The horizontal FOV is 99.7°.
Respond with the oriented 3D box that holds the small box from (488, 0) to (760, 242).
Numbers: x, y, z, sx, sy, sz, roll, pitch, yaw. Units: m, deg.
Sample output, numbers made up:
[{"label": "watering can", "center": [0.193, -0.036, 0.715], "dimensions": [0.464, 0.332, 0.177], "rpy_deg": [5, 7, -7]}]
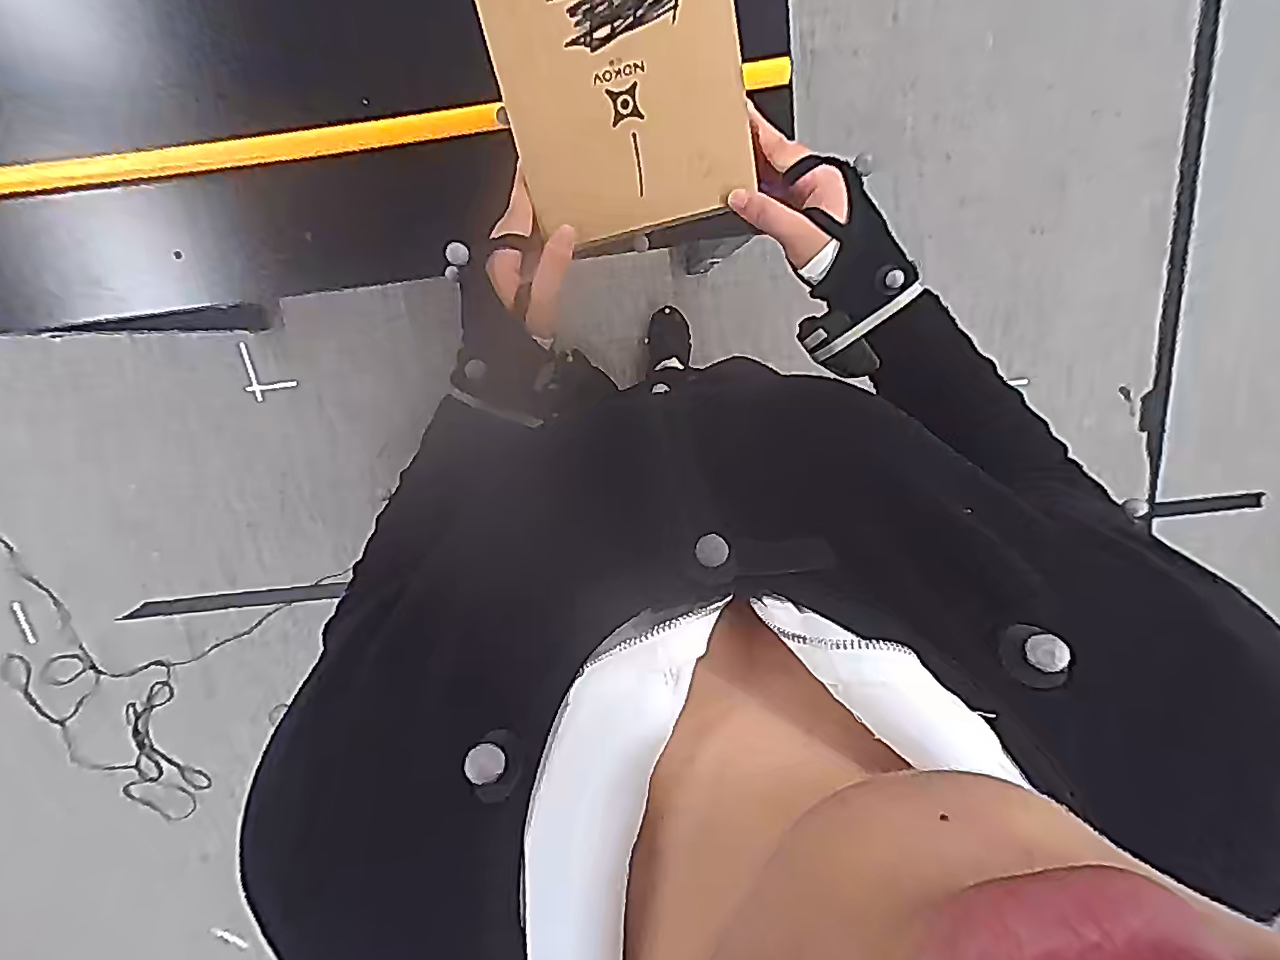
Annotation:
[{"label": "small box", "center": [-0.012, -0.308, 0.445], "dimensions": [0.168, 0.176, 0.179], "rpy_deg": [-13, 113, 3]}]
